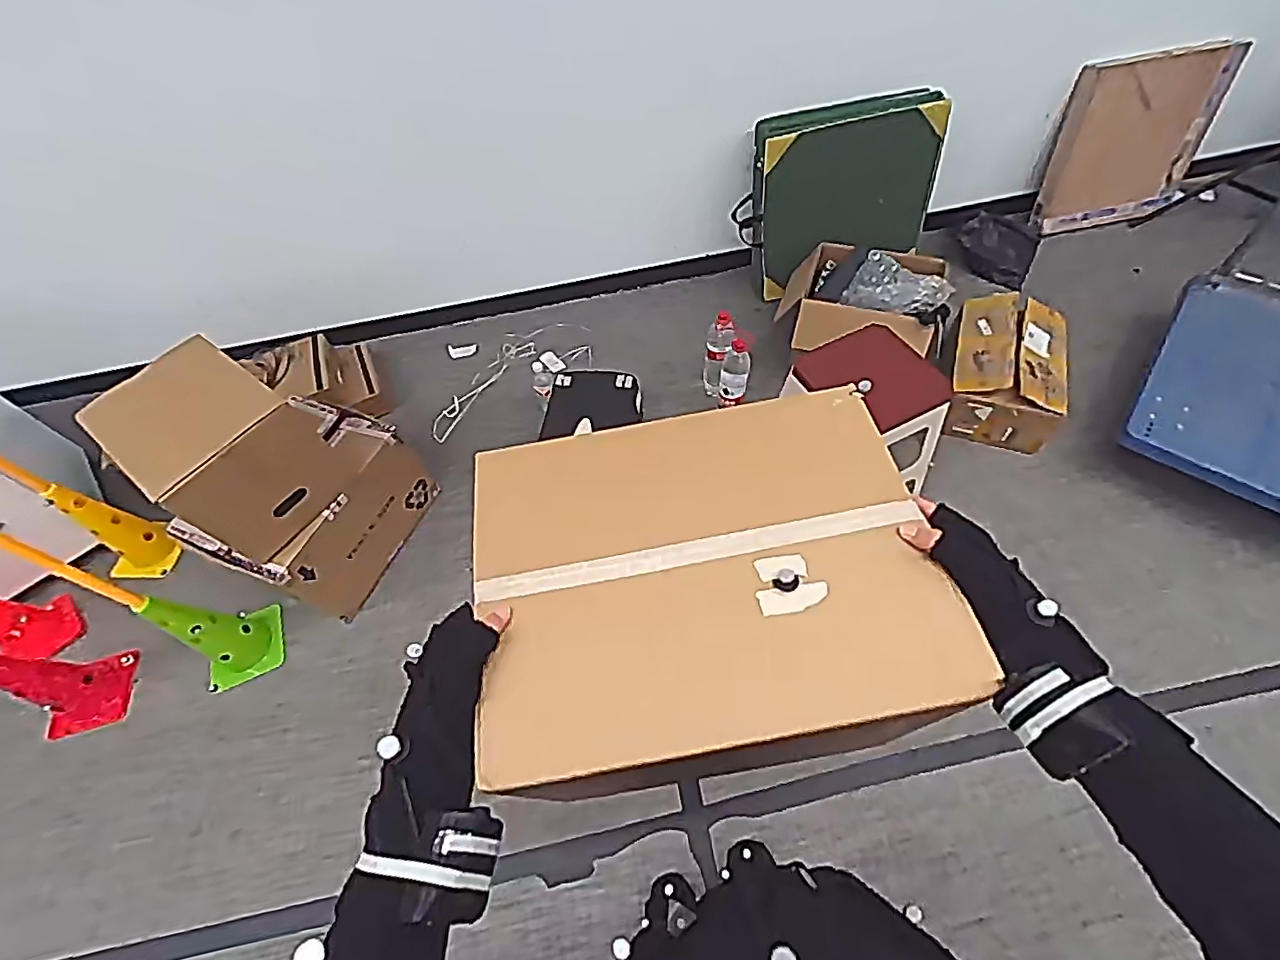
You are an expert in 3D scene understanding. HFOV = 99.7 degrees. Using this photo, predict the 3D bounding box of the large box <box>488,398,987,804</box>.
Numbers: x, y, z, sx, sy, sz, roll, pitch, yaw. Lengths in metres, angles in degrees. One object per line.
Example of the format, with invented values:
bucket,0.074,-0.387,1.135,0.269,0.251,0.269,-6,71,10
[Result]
large box,0.069,0.154,0.625,0.408,0.320,0.320,-11,57,-1
